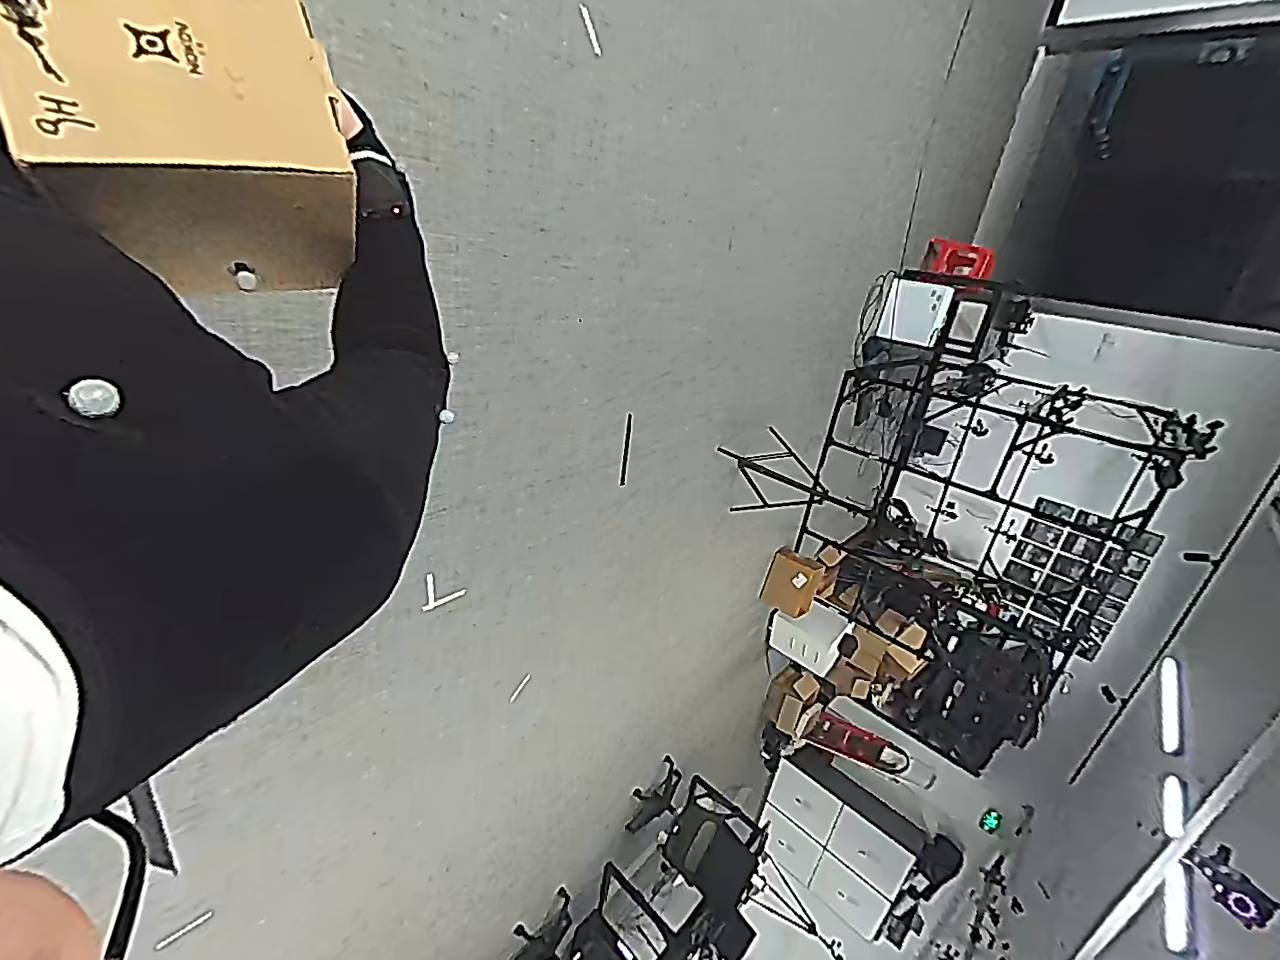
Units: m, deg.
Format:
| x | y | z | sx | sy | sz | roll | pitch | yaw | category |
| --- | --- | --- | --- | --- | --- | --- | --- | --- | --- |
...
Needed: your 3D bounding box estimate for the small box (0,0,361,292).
| x | y | z | sx | sy | sz | roll | pitch | yaw | category |
| --- | --- | --- | --- | --- | --- | --- | --- | --- | --- |
| -0.341 | -0.267 | 0.431 | 0.179 | 0.176 | 0.168 | -16 | 87 | -31 | small box |
